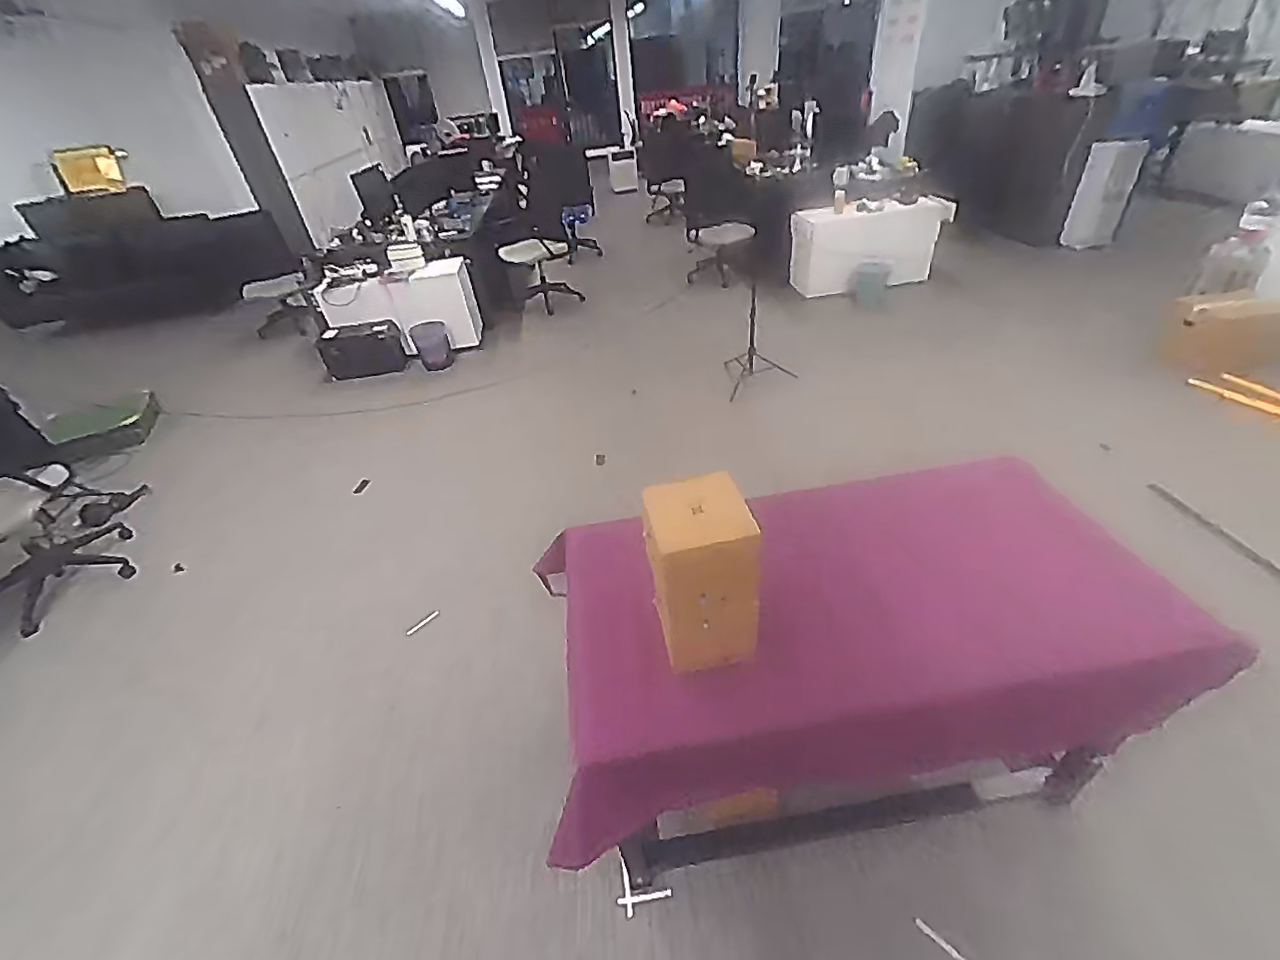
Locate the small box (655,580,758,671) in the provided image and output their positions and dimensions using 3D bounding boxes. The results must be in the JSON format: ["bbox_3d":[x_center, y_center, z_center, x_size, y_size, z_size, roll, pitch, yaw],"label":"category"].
[{"bbox_3d":[0.122,0.242,1.058,0.168,0.176,0.179,-10,37,-4],"label":"small box"}]

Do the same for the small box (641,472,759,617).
[{"bbox_3d":[0.101,0.112,0.960,0.168,0.176,0.179,-11,38,-5],"label":"small box"}]
